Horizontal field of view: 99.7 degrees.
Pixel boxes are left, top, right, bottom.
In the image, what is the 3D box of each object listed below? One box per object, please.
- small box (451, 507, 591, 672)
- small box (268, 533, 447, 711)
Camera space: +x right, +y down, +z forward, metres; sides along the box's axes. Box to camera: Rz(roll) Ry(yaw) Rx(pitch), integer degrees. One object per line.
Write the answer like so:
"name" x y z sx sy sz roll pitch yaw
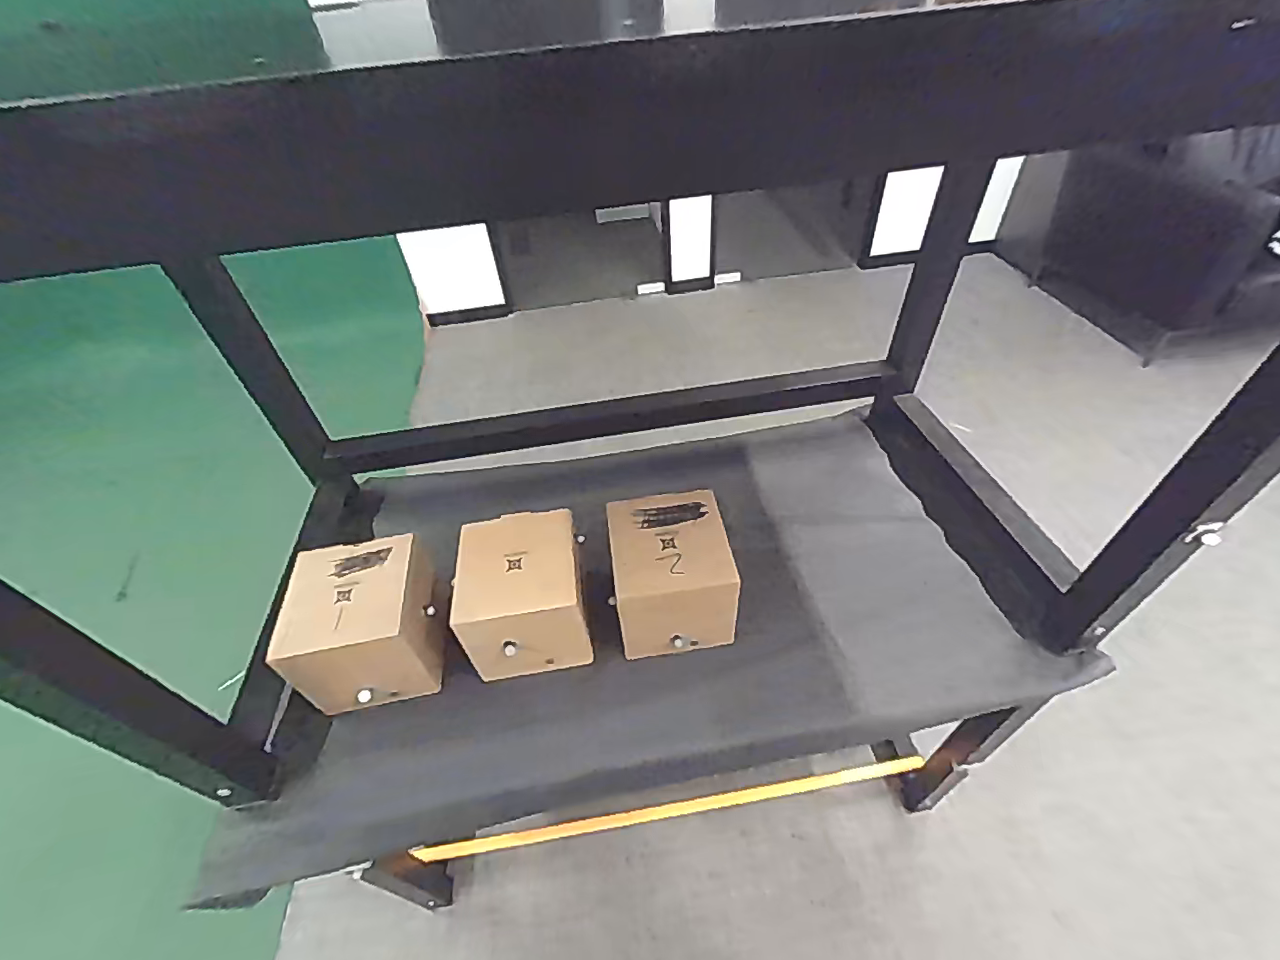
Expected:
"small box" -0.169 0.169 0.809 0.168 0.176 0.179 -8 44 -4
"small box" -0.392 0.206 0.790 0.168 0.176 0.179 -10 45 -5
